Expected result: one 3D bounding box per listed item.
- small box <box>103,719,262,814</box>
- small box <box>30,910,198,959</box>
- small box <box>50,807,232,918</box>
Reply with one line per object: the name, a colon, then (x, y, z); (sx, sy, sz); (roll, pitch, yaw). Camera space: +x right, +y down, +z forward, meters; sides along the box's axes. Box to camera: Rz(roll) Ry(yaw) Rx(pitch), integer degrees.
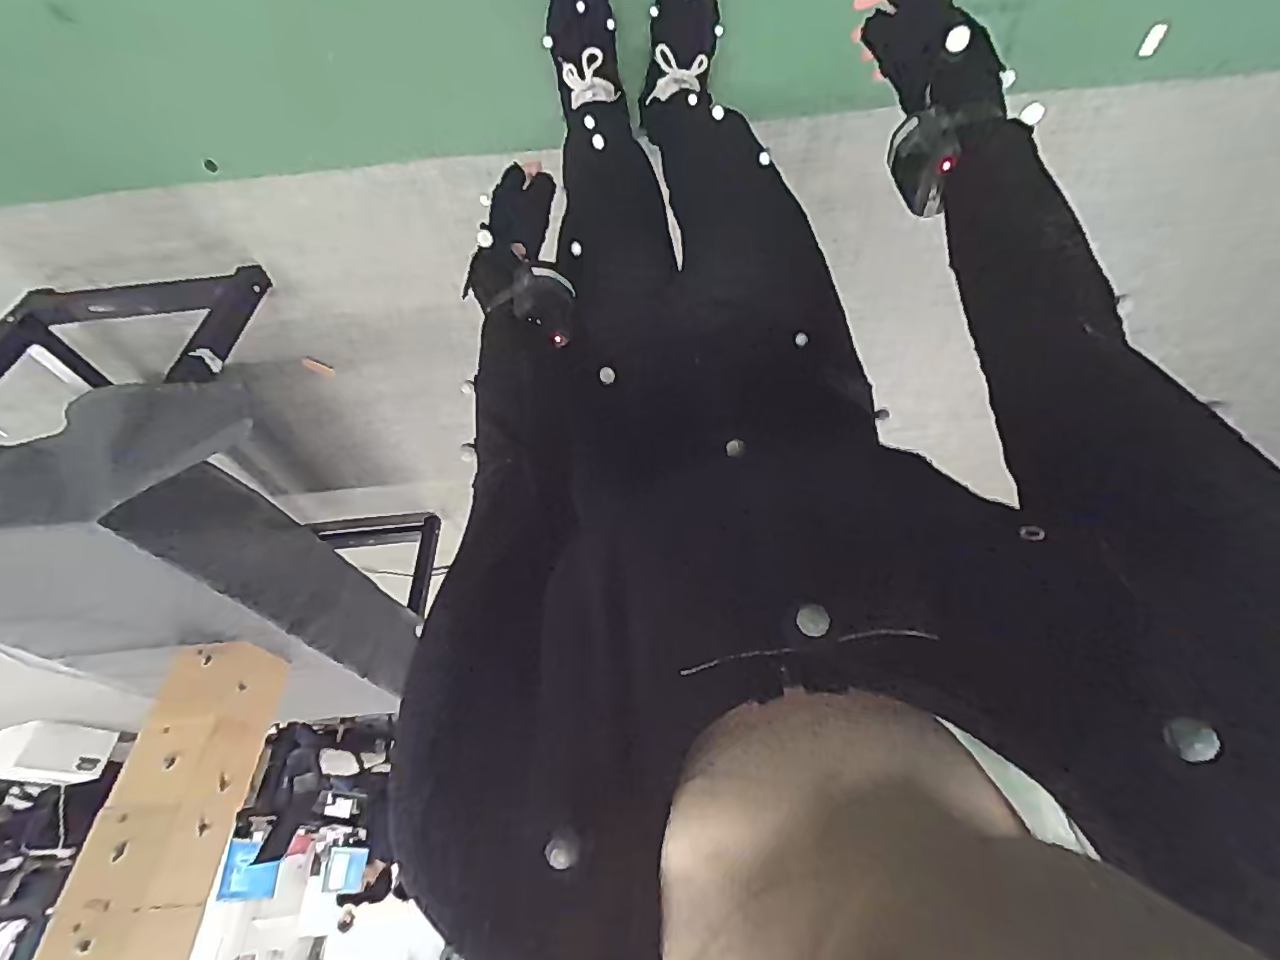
small box: (-0.978, 0.626, 1.176); (0.168, 0.176, 0.179); (-6, 143, 3)
small box: (-0.970, 0.894, 0.985); (0.168, 0.176, 0.179); (-6, 143, 2)
small box: (-0.975, 0.758, 1.079); (0.168, 0.176, 0.179); (-4, 143, 1)
